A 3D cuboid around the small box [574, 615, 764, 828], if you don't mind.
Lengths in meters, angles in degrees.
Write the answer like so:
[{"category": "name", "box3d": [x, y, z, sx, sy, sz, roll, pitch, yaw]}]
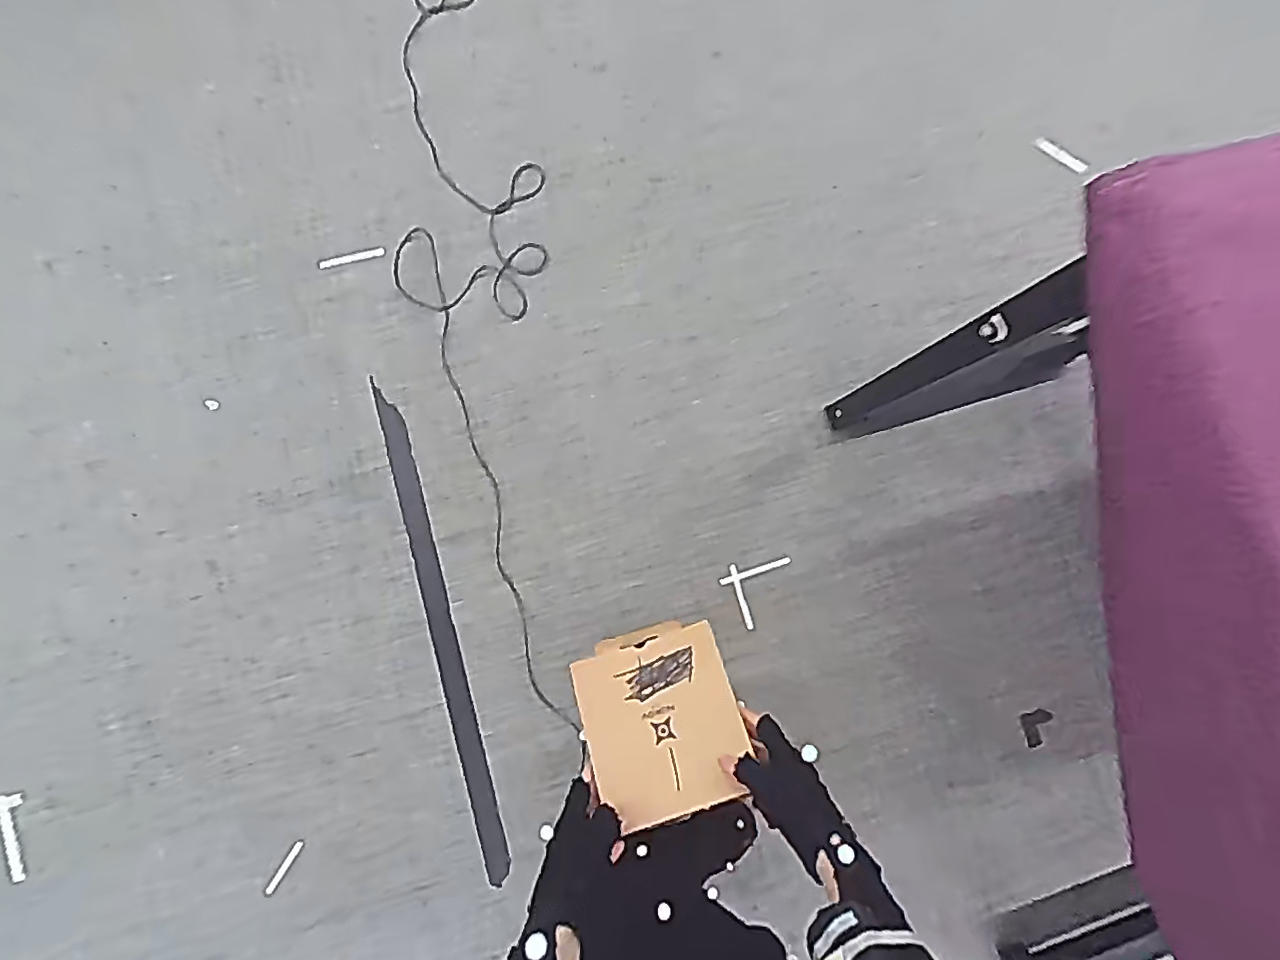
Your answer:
[{"category": "small box", "box3d": [0.029, 0.283, 0.646, 0.168, 0.176, 0.179, -17, 65, -4]}]
